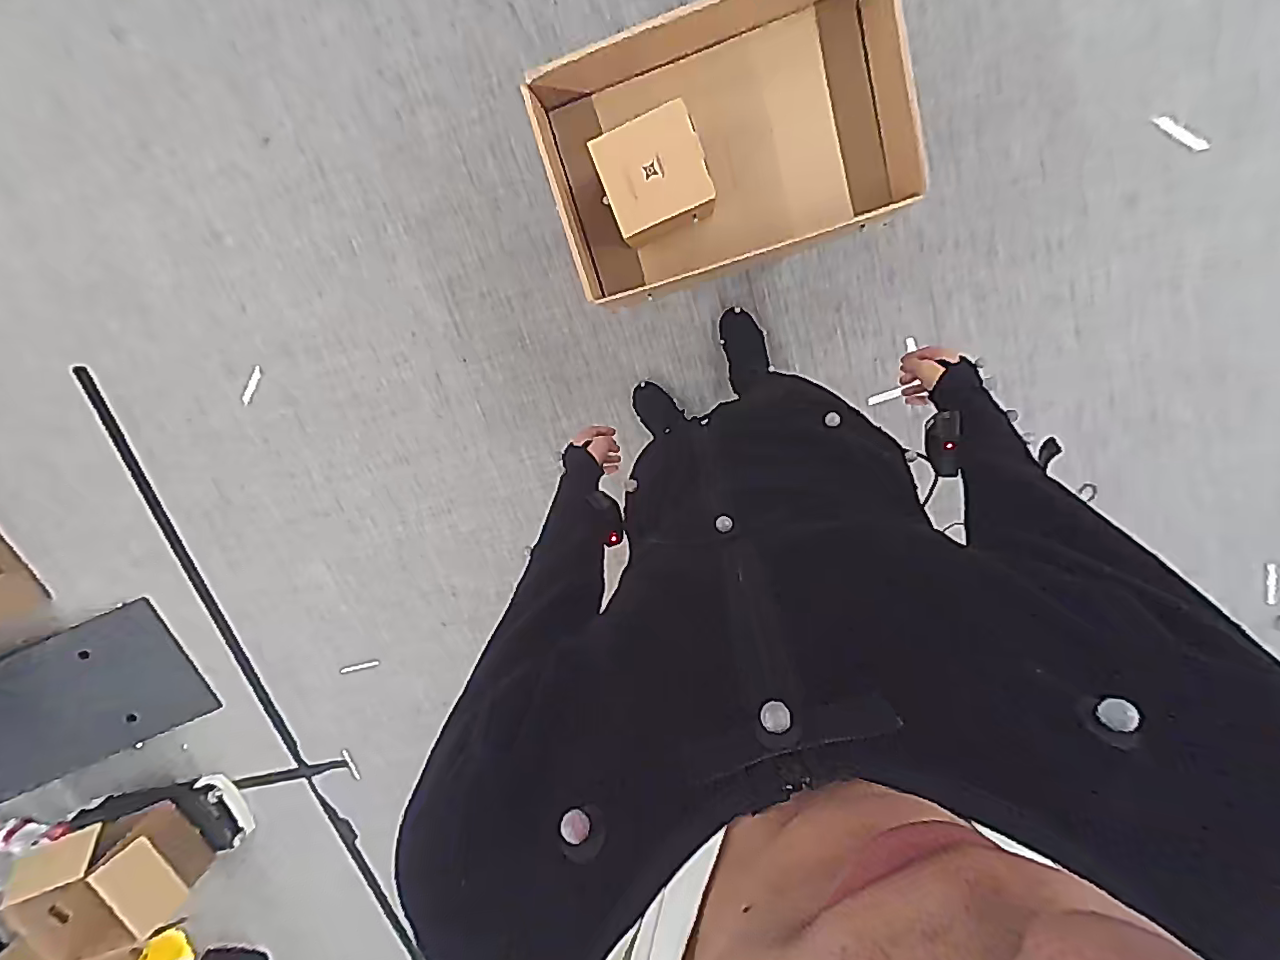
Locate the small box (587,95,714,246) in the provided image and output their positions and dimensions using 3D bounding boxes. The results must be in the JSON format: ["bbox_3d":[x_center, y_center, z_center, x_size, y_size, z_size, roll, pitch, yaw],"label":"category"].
[{"bbox_3d":[0.023,-0.548,0.986,0.179,0.176,0.168,-20,103,11],"label":"small box"}]
